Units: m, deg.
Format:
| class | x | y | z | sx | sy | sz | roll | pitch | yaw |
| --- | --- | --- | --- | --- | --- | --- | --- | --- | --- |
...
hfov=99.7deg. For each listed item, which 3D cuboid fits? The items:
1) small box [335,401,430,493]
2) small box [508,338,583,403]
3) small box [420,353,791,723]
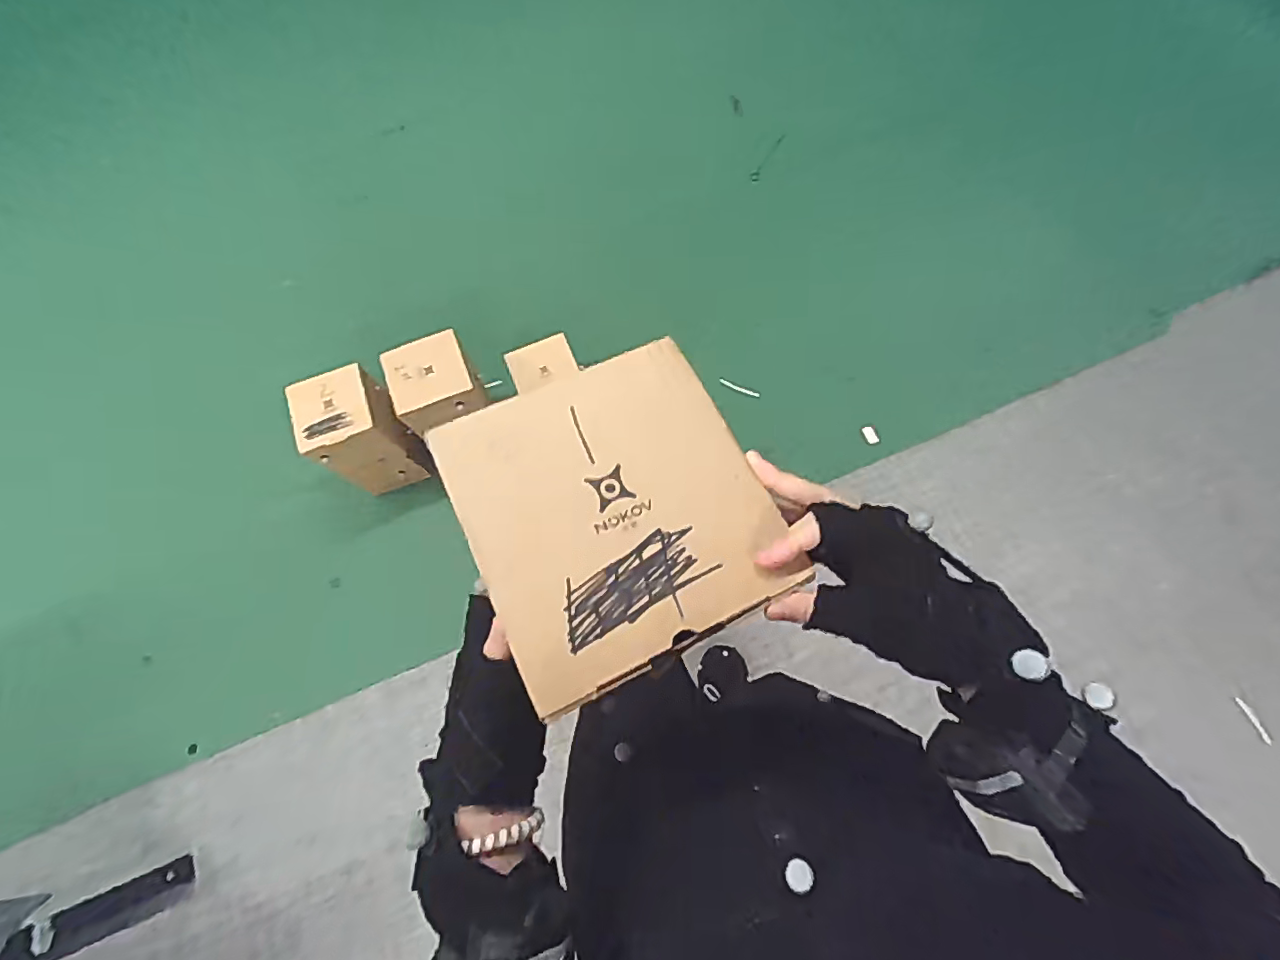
| class | x | y | z | sx | sy | sz | roll | pitch | yaw |
| --- | --- | --- | --- | --- | --- | --- | --- | --- | --- |
| small box | -0.669 | -0.077 | 1.429 | 0.168 | 0.176 | 0.179 | -19 | 73 | -3 |
| small box | -0.236 | -0.246 | 1.461 | 0.168 | 0.176 | 0.179 | -23 | 74 | -5 |
| small box | -0.026 | 0.048 | 0.389 | 0.168 | 0.176 | 0.179 | -25 | 71 | -13 |
